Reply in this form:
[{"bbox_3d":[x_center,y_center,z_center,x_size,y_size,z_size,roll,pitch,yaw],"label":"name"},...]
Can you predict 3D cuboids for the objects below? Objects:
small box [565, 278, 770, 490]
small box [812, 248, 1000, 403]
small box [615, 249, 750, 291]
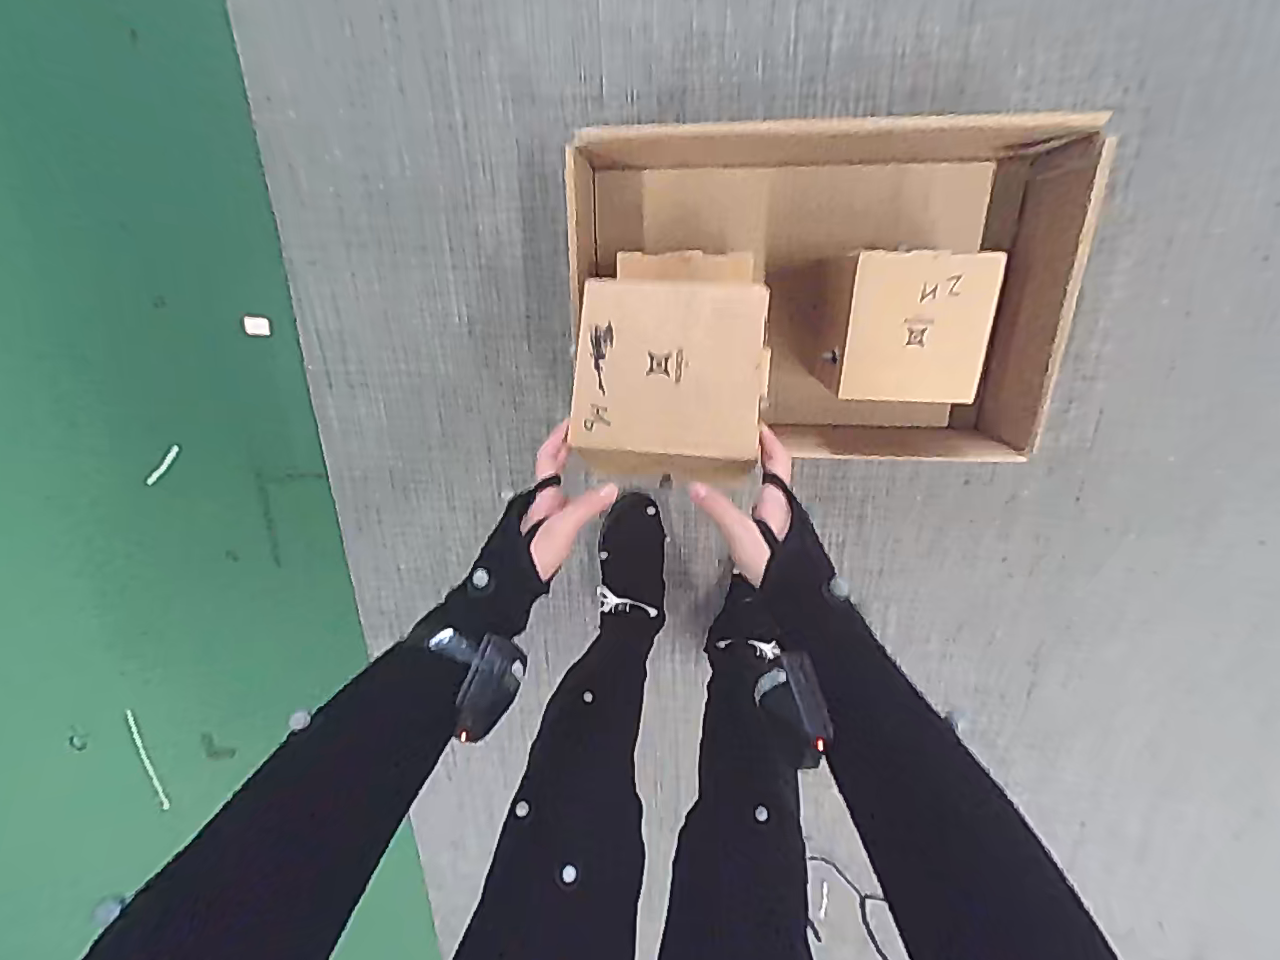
[{"bbox_3d":[0.031,-0.088,0.573,0.179,0.176,0.168,5,78,5],"label":"small box"},{"bbox_3d":[0.337,-0.210,0.728,0.168,0.176,0.179,3,109,4],"label":"small box"},{"bbox_3d":[0.057,-0.220,0.752,0.168,0.176,0.179,2,108,4],"label":"small box"}]
